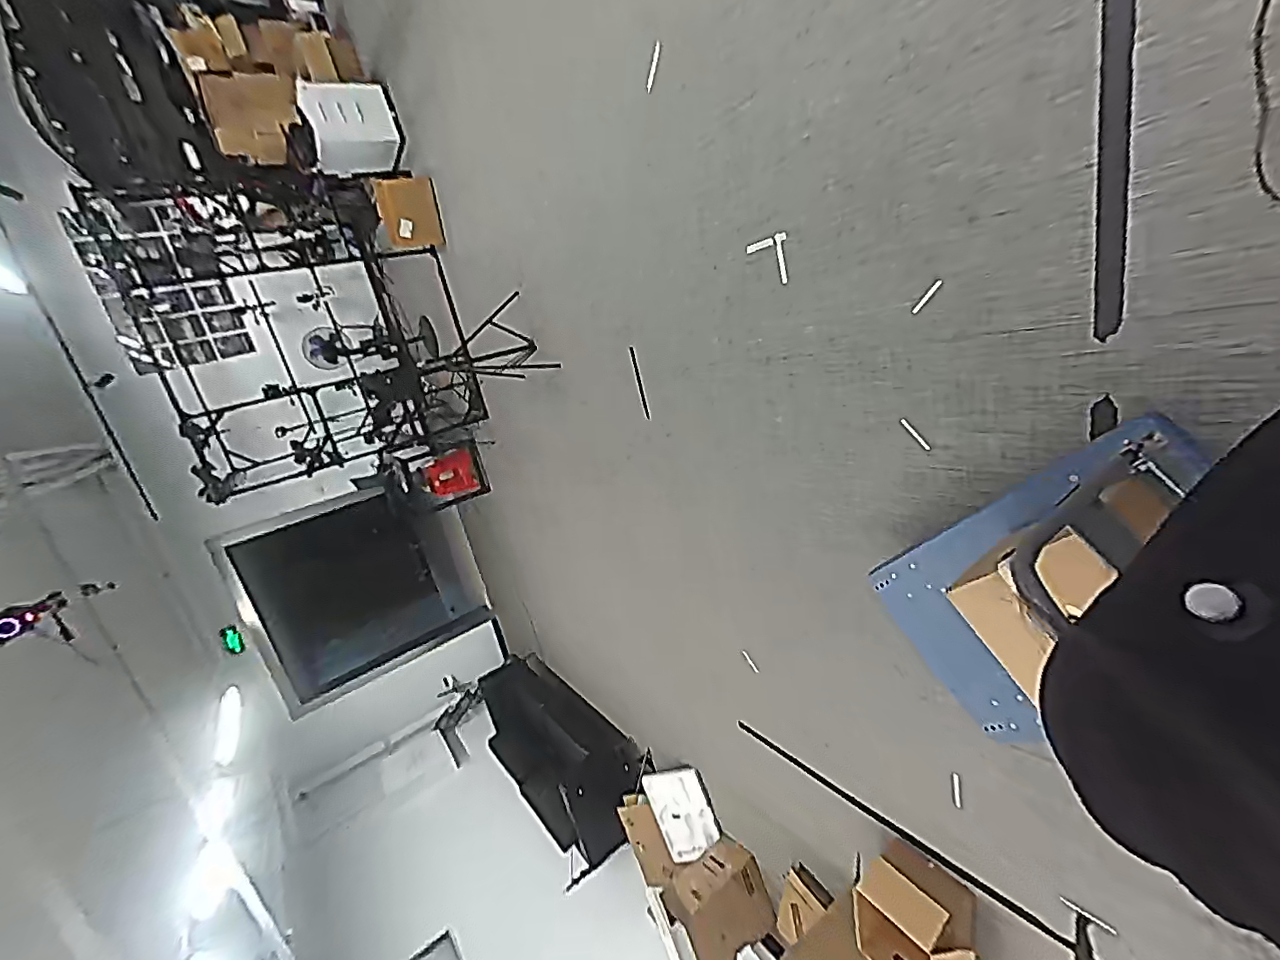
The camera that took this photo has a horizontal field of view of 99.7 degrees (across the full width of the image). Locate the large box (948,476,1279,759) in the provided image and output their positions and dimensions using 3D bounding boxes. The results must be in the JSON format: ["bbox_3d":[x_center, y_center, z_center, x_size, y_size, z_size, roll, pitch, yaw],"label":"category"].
[{"bbox_3d":[0.941,0.267,1.075,0.408,0.320,0.320,57,148,18],"label":"large box"}]
